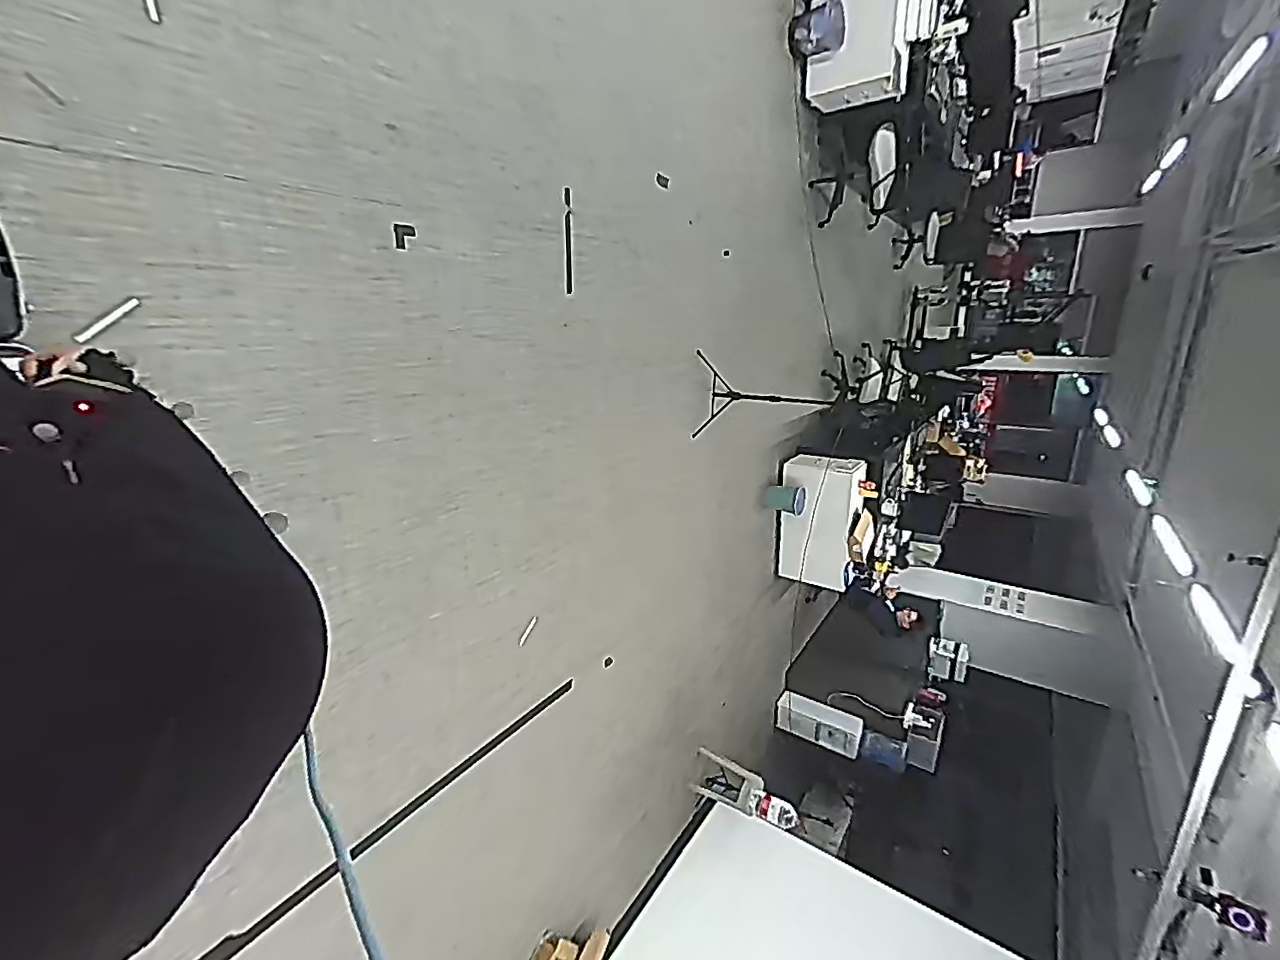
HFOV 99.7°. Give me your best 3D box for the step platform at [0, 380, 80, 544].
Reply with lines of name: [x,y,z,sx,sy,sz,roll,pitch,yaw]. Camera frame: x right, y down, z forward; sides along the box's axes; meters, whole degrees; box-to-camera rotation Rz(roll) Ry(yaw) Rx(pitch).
step platform: [-1.307,0.000,0.787,0.684,0.204,0.286,-13,108,-52]
